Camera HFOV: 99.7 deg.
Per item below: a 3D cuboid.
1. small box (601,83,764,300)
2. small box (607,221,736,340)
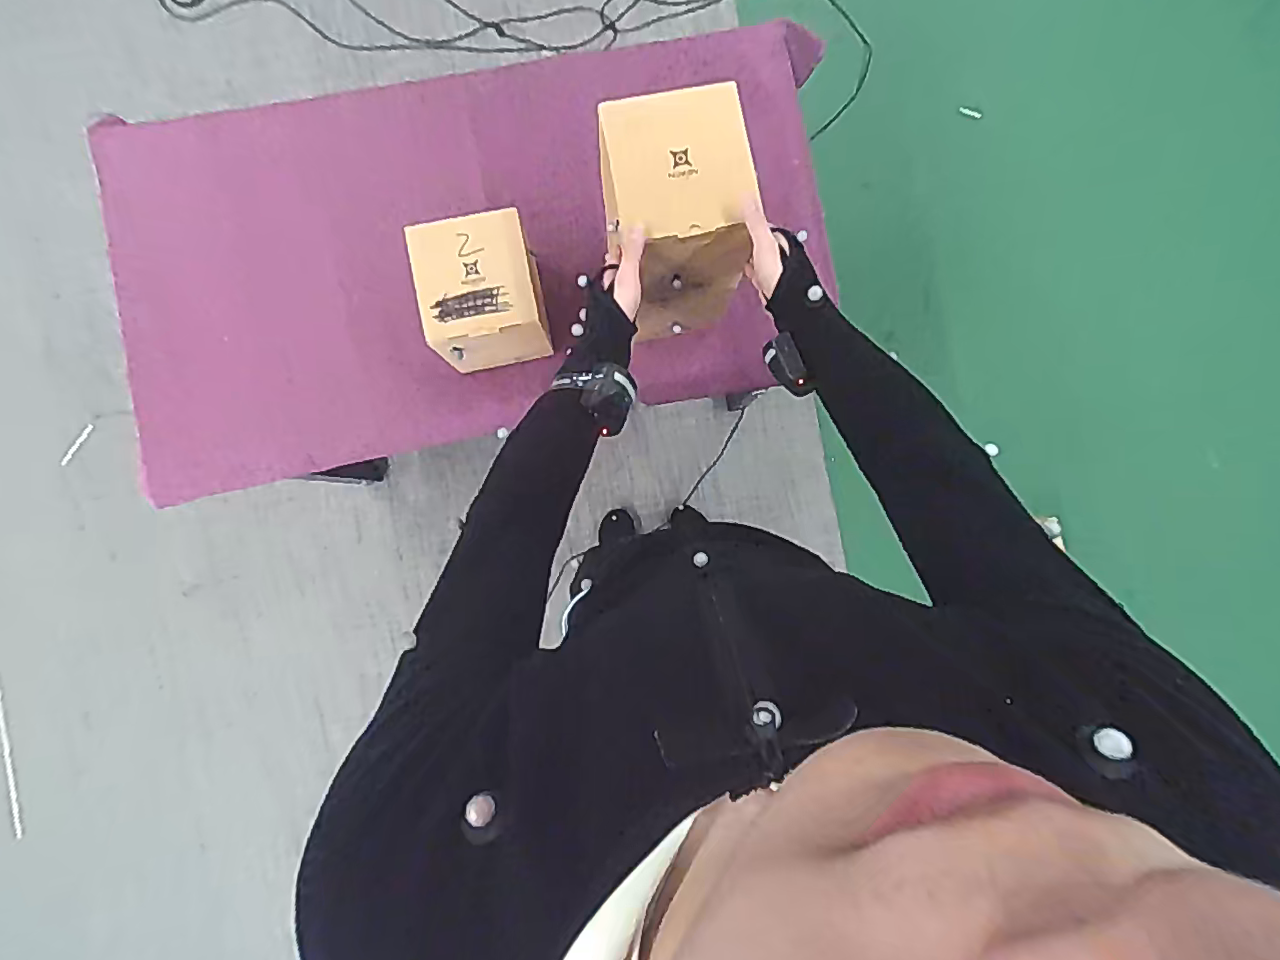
[{"bbox_3d":[0.044,-0.359,0.699,0.168,0.176,0.179,-11,87,-3],"label":"small box"},{"bbox_3d":[0.041,-0.345,0.862,0.168,0.176,0.179,-11,87,-2],"label":"small box"}]
